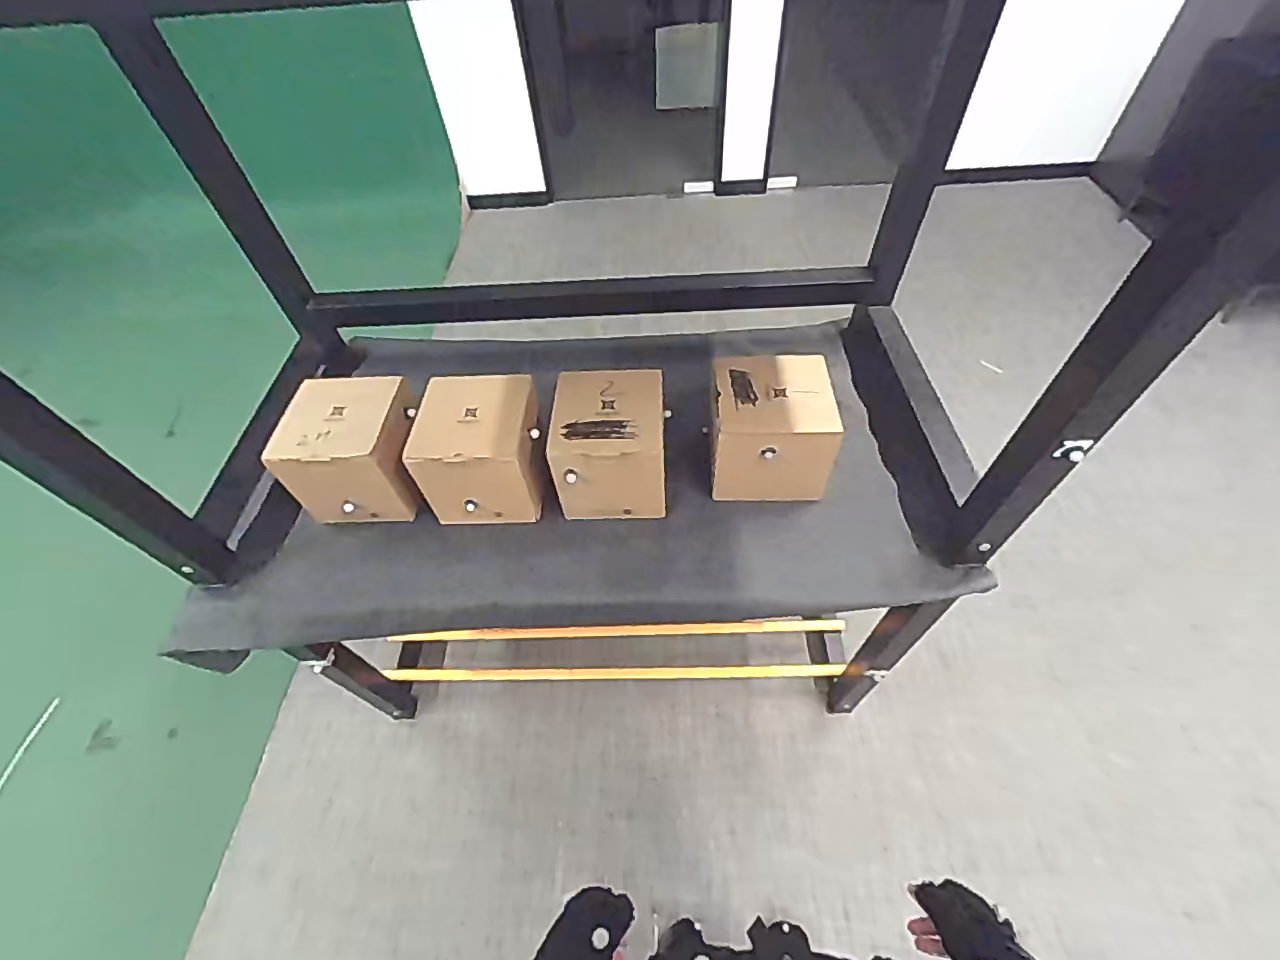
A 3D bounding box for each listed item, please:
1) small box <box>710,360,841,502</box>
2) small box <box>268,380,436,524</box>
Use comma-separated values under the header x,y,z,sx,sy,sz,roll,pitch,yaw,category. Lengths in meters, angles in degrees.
x,y,z,sx,sy,sz,roll,pitch,yaw,category
0.204,-0.076,0.874,0.179,0.176,0.168,1,53,3,small box
-0.457,-0.045,0.895,0.168,0.176,0.179,-1,52,2,small box
